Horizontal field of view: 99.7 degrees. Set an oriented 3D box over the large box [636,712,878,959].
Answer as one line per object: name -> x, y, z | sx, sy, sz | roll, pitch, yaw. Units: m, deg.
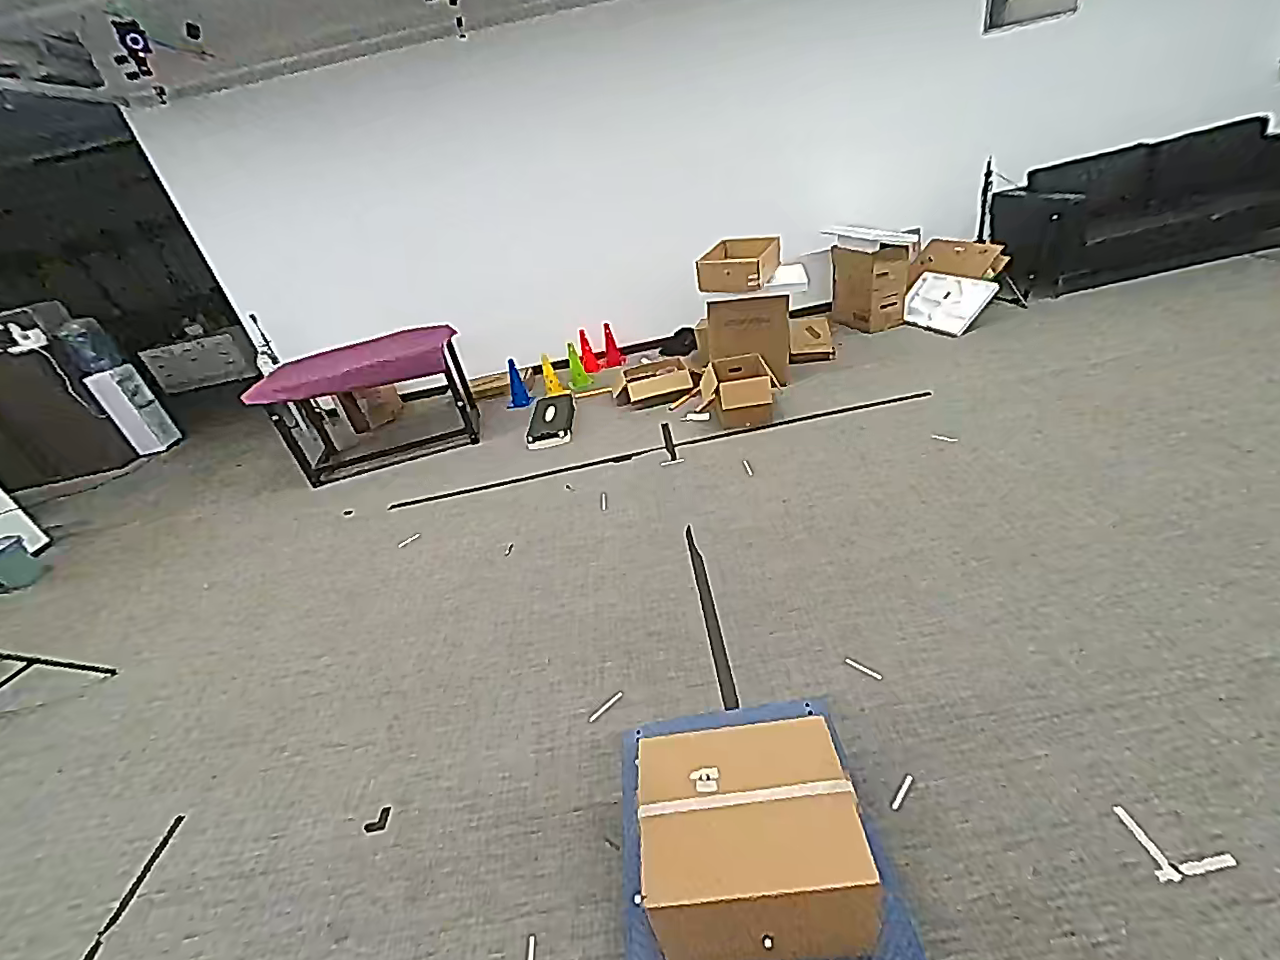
large box -> 0.222, 0.730, 1.102 | 0.408, 0.320, 0.320 | -11, 30, 5
